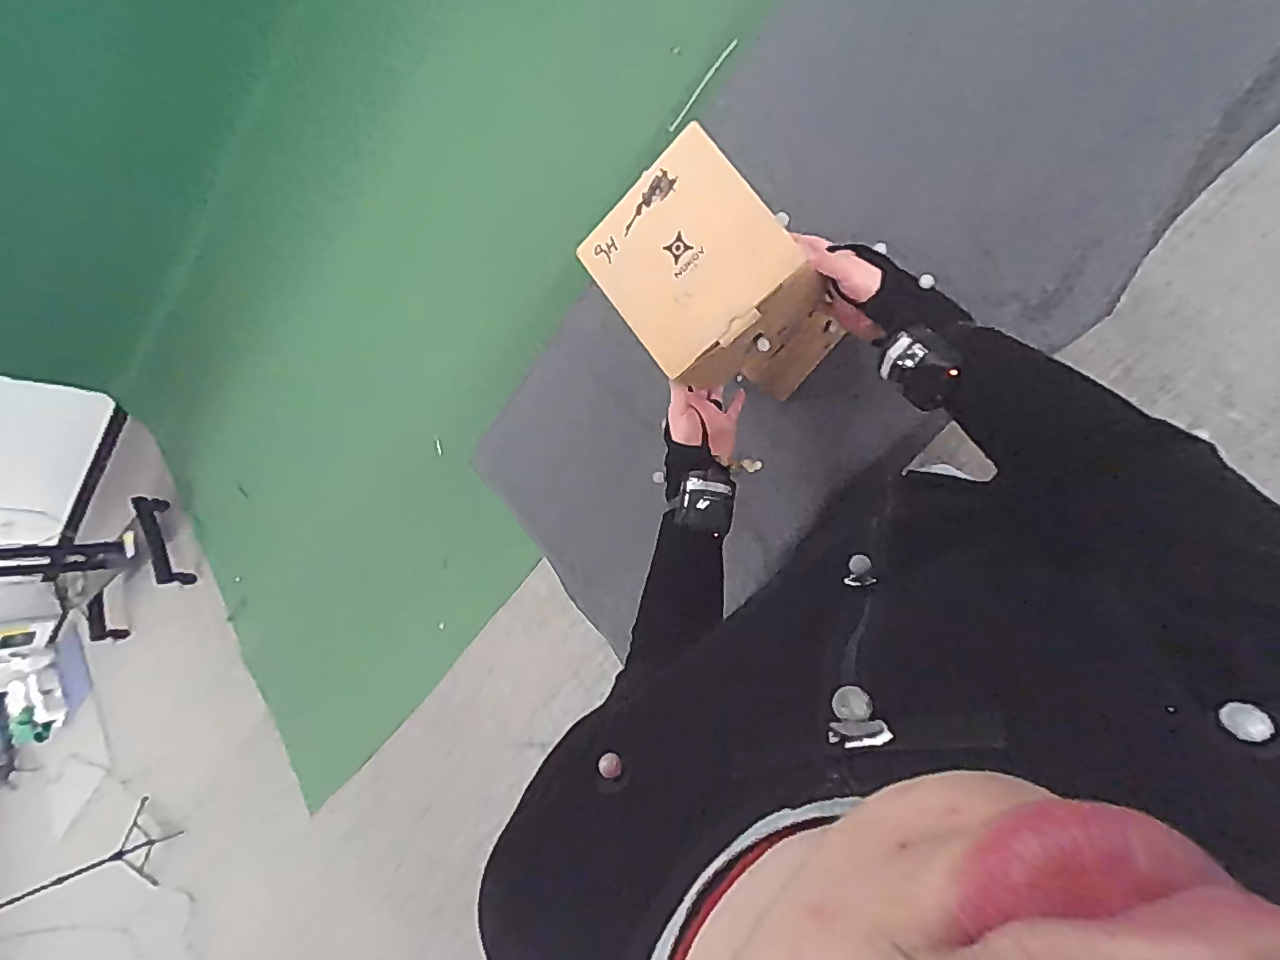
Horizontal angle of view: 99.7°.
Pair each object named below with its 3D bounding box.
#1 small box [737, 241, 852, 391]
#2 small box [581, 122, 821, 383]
[{"bbox_3d":[0.184,-0.248,0.790,0.168,0.176,0.179,-49,67,16],"label":"small box"},{"bbox_3d":[0.076,-0.223,0.581,0.168,0.176,0.179,-37,83,23],"label":"small box"}]
